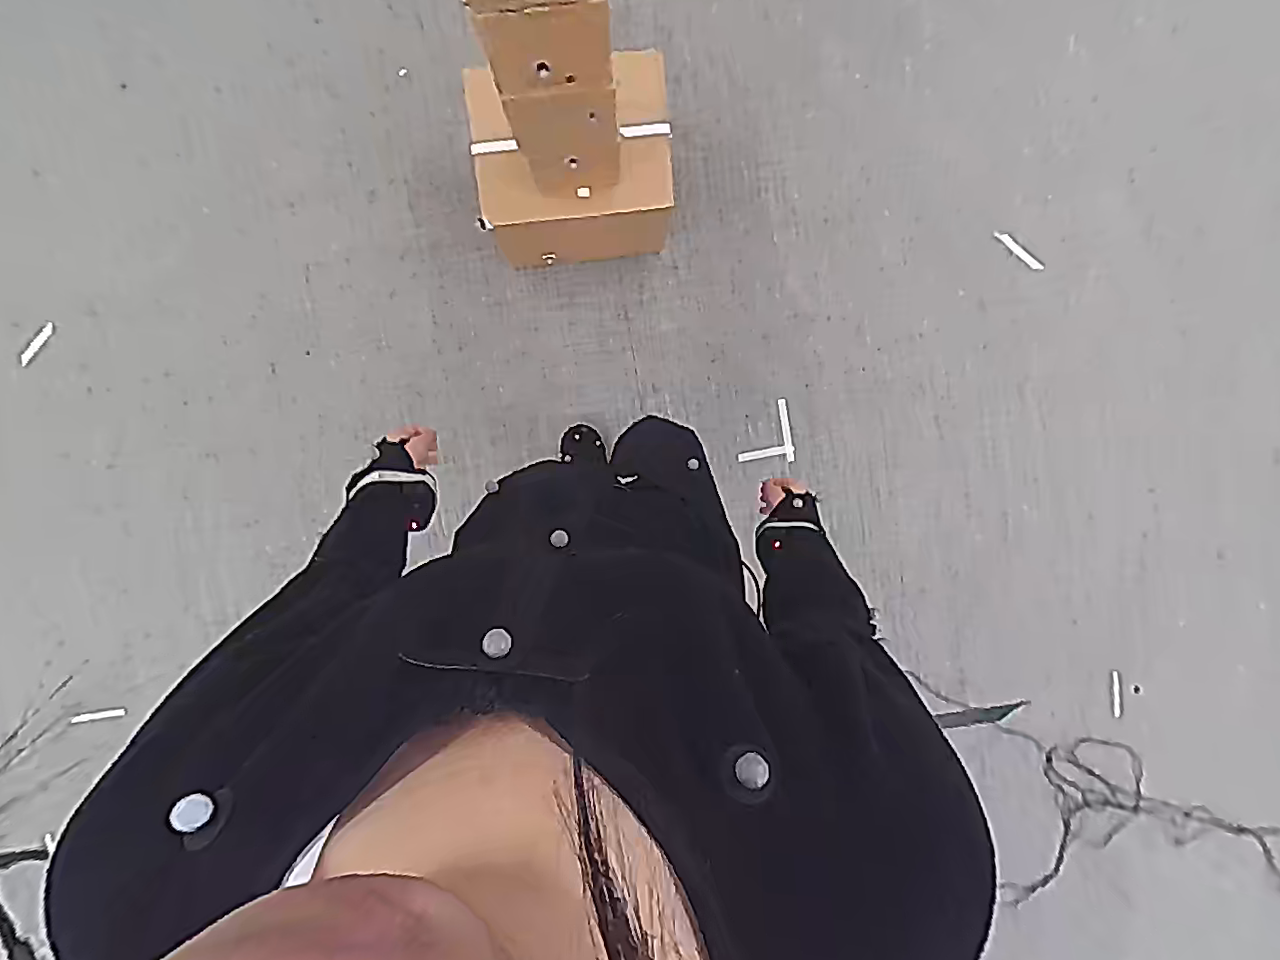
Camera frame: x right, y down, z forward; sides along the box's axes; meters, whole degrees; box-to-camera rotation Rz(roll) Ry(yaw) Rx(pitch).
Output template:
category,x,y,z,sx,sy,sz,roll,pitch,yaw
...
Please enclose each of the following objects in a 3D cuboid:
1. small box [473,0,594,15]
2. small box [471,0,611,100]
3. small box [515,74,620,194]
category,x,y,z,sx,sy,sz,roll,pitch,yaw
small box,-0.126,-0.630,0.544,0.168,0.176,0.179,-10,98,-1
small box,-0.131,-0.645,0.708,0.168,0.176,0.179,-9,97,-2
small box,-0.135,-0.670,1.033,0.179,0.176,0.168,-9,97,-2
